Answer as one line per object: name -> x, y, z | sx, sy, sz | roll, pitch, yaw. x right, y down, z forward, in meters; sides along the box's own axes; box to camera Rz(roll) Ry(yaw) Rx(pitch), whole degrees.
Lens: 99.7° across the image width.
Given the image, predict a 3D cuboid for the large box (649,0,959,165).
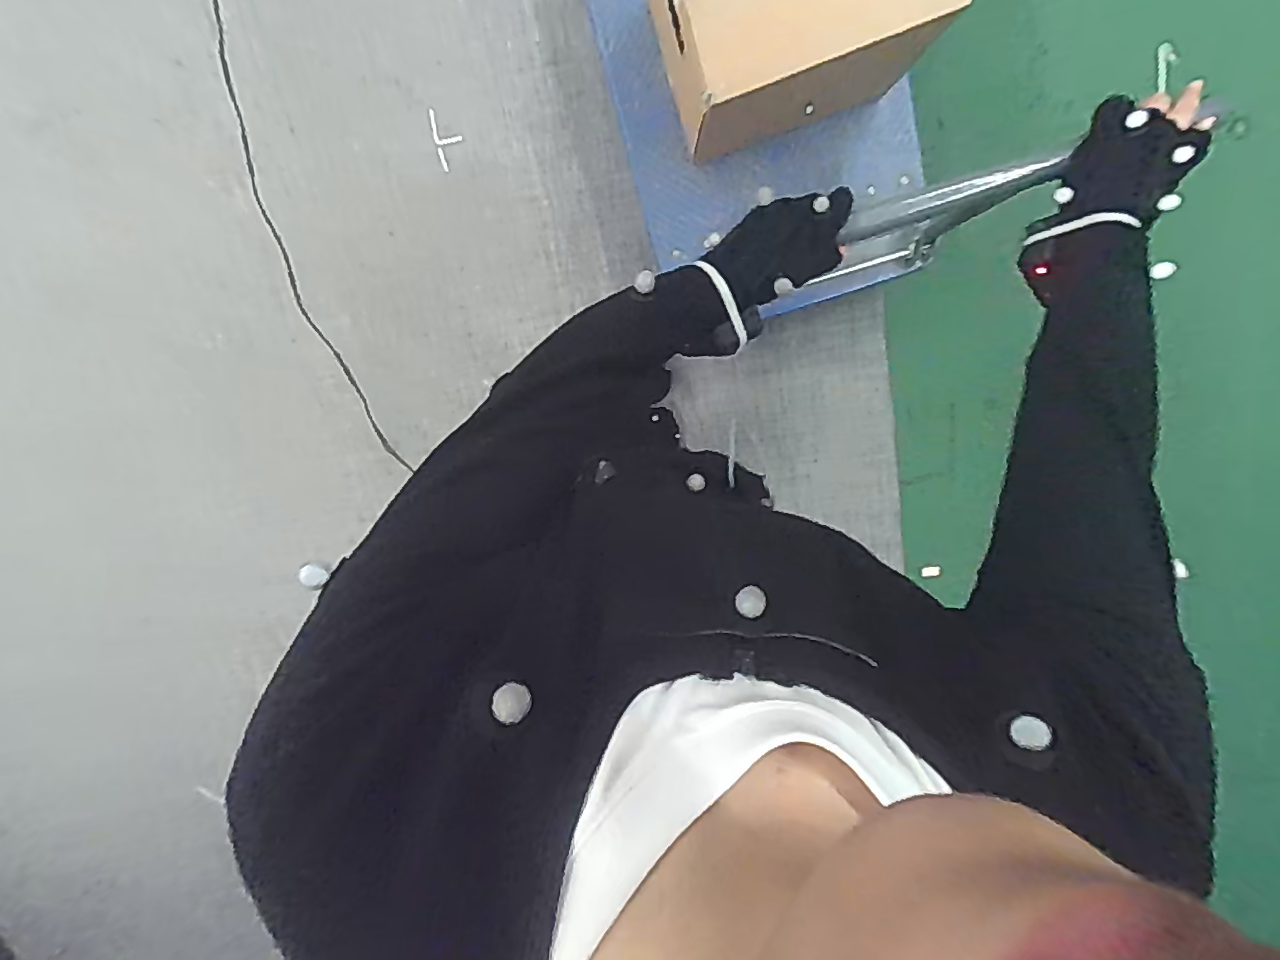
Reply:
large box -> 0.249, -0.821, 0.939 | 0.408, 0.320, 0.320 | -18, 103, 7
